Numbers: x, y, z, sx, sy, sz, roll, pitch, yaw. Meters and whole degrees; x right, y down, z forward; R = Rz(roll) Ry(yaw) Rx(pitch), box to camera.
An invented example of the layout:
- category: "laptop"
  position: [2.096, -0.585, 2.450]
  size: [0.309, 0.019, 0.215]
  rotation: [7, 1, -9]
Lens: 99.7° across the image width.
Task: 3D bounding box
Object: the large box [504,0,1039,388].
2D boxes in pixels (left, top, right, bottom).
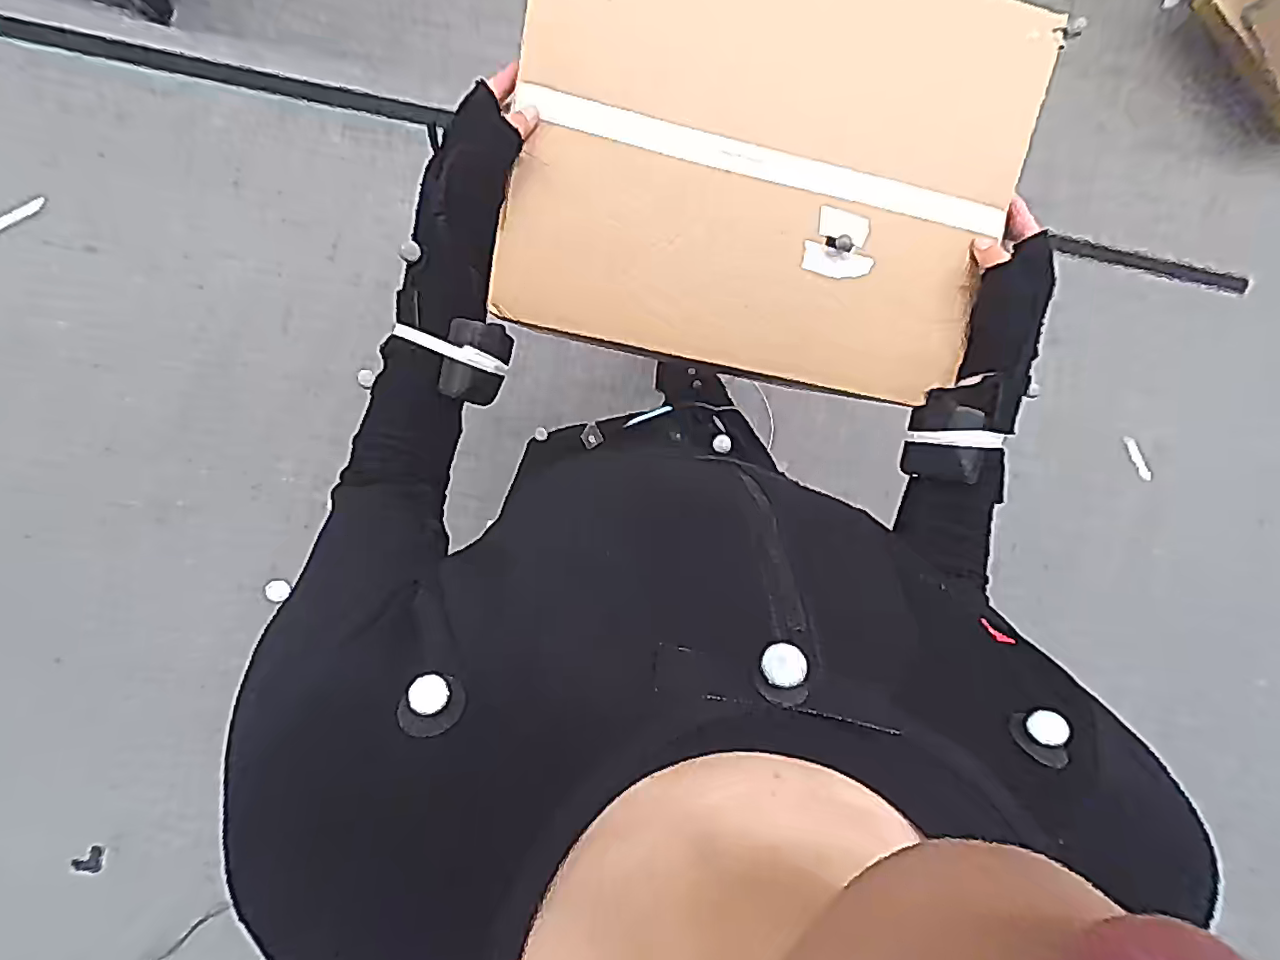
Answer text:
- category: "large box"
  position: [0.088, -0.295, 0.586]
  size: [0.408, 0.320, 0.320]
  rotation: [10, 104, -9]
